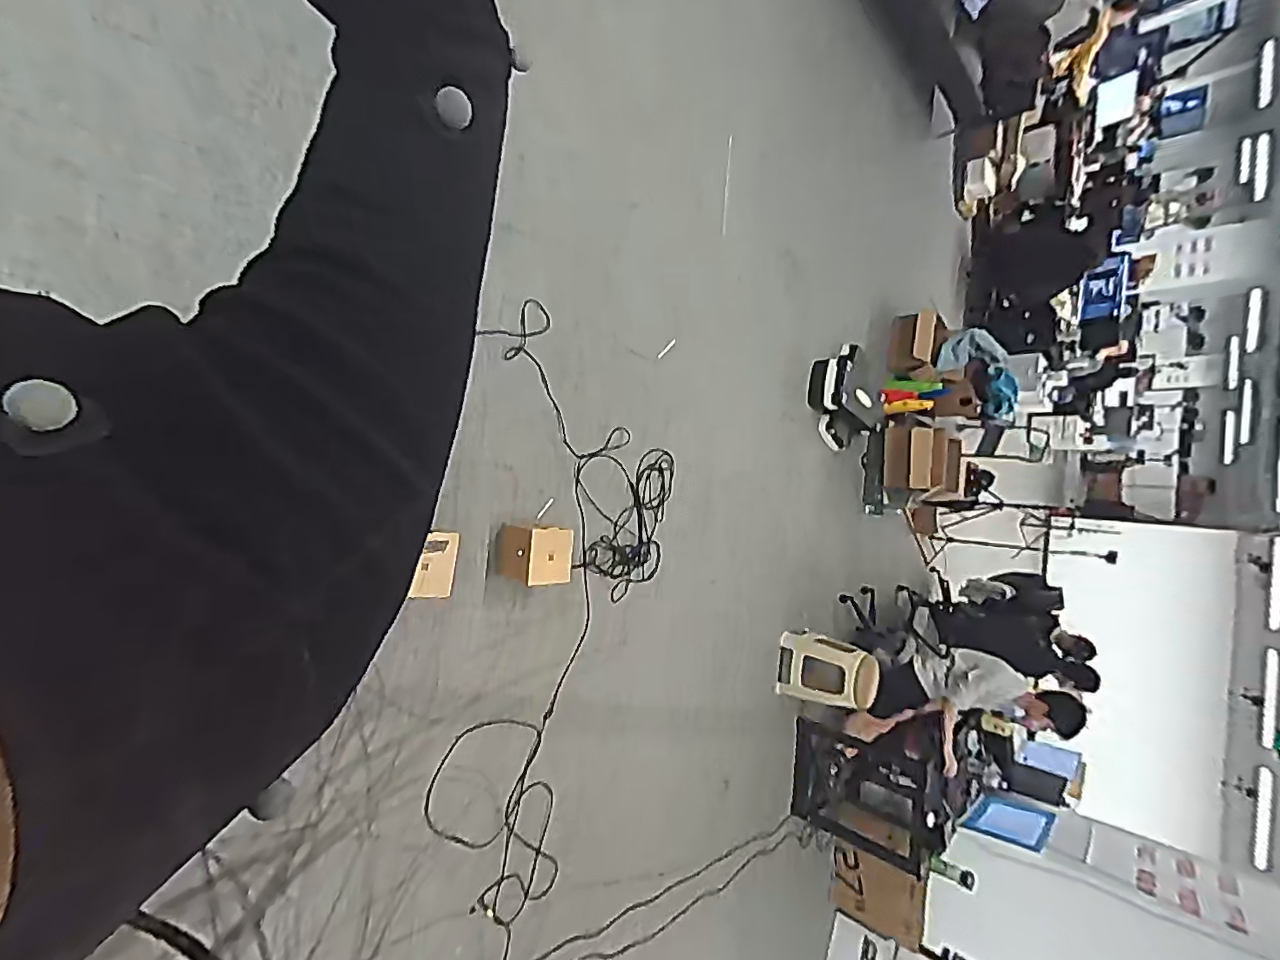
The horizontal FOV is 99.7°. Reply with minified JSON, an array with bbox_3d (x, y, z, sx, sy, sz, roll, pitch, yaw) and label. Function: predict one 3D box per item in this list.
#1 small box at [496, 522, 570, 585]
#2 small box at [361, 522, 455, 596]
[{"bbox_3d":[-0.349,0.233,1.743,0.168,0.176,0.179,5,88,-47],"label":"small box"},{"bbox_3d":[-0.623,0.210,1.448,0.168,0.176,0.179,13,84,-47],"label":"small box"}]
